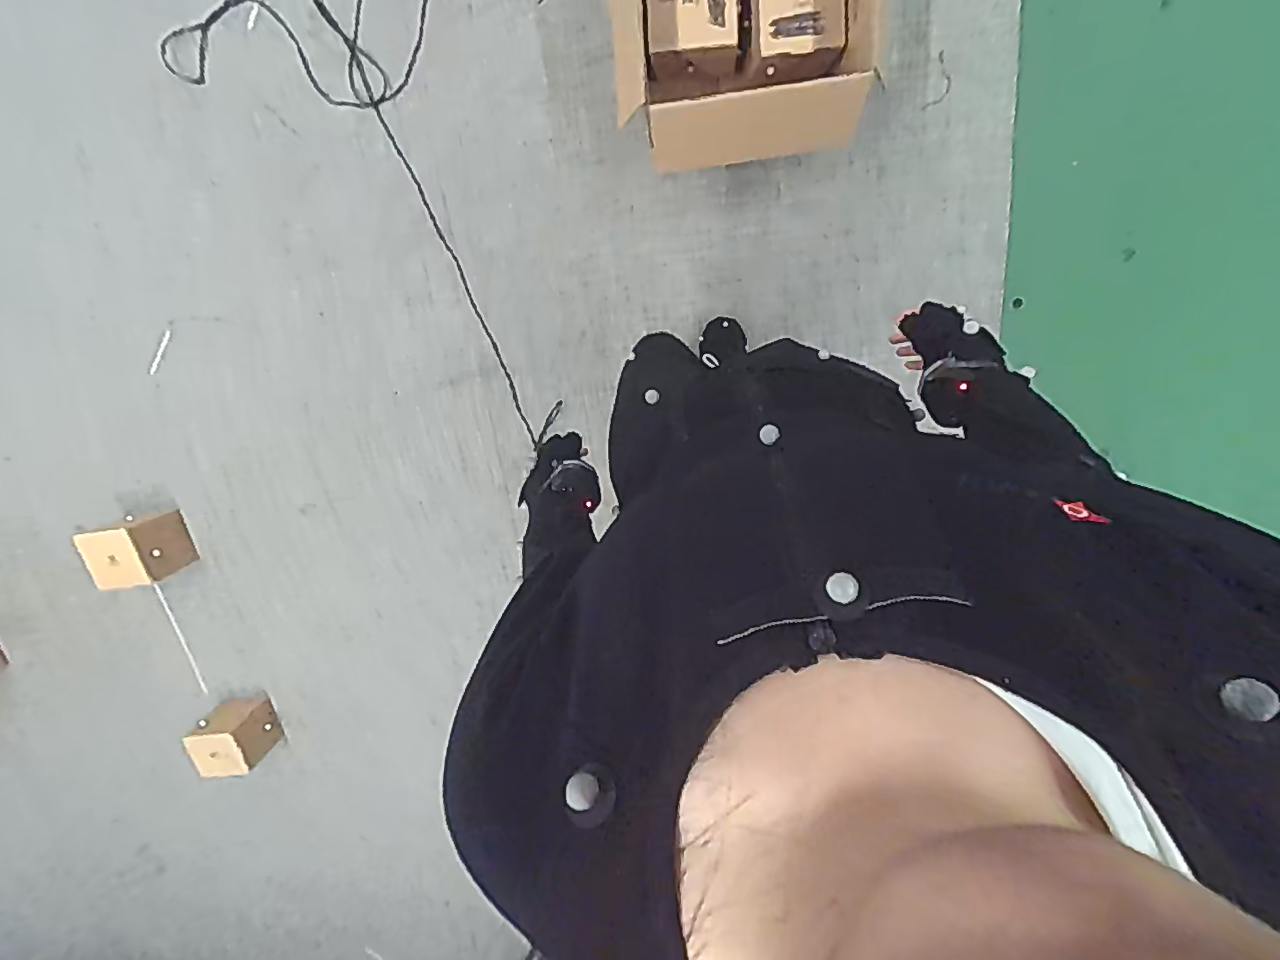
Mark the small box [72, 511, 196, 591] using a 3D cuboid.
[{"bbox_3d":[-1.453,0.197,1.565,0.168,0.176,0.179,-8,108,5],"label":"small box"}]

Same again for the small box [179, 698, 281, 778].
[{"bbox_3d":[-1.333,0.841,1.768,0.179,0.176,0.168,-8,108,5],"label":"small box"}]
